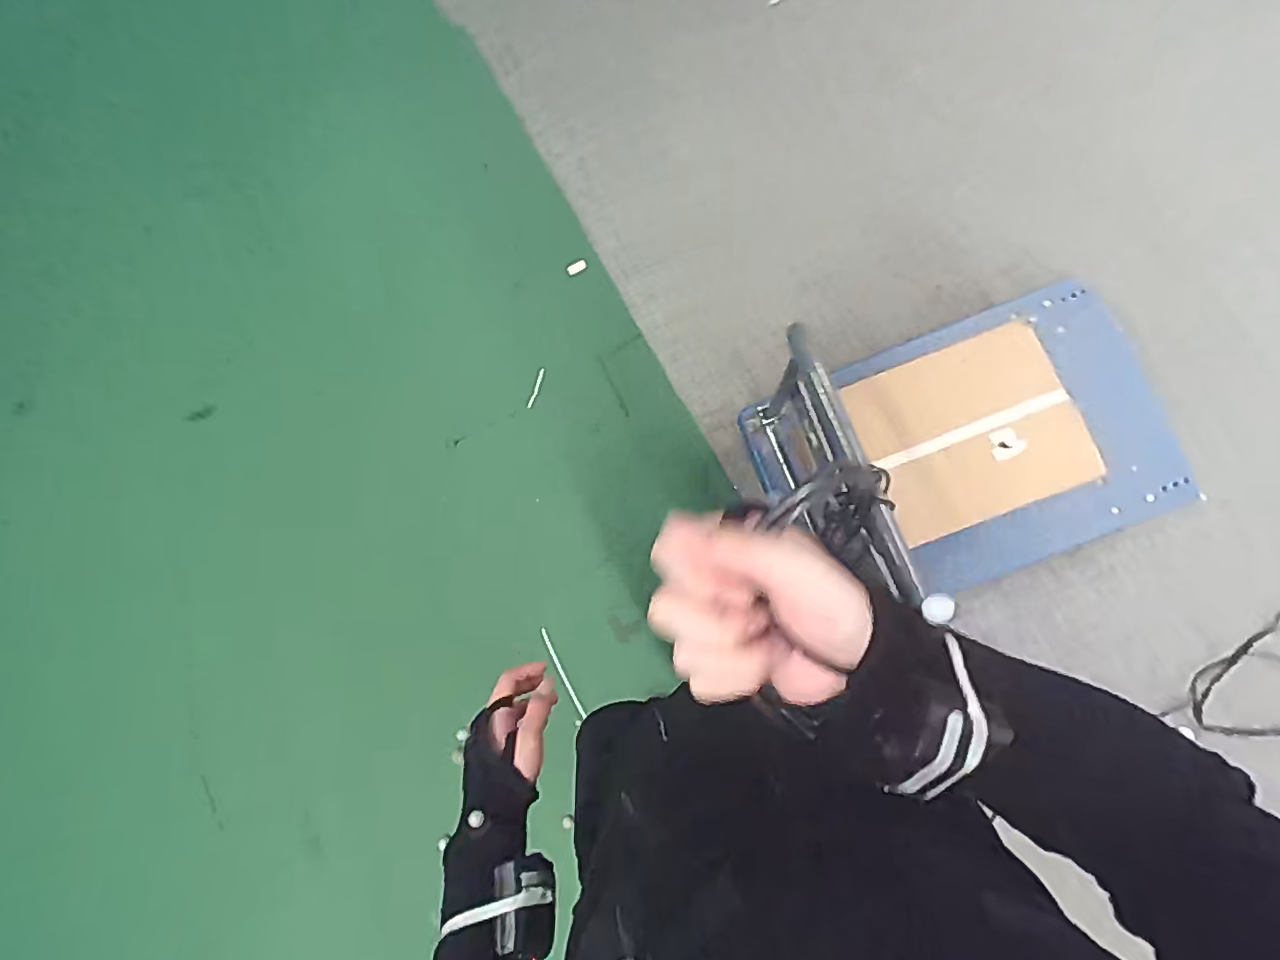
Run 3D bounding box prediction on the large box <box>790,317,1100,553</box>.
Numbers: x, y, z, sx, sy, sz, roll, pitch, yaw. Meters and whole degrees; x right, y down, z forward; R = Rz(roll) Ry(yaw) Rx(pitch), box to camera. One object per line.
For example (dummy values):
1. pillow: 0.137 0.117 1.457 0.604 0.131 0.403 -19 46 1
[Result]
1. large box: 0.579 -0.064 1.118 0.408 0.320 0.320 -22 82 2
